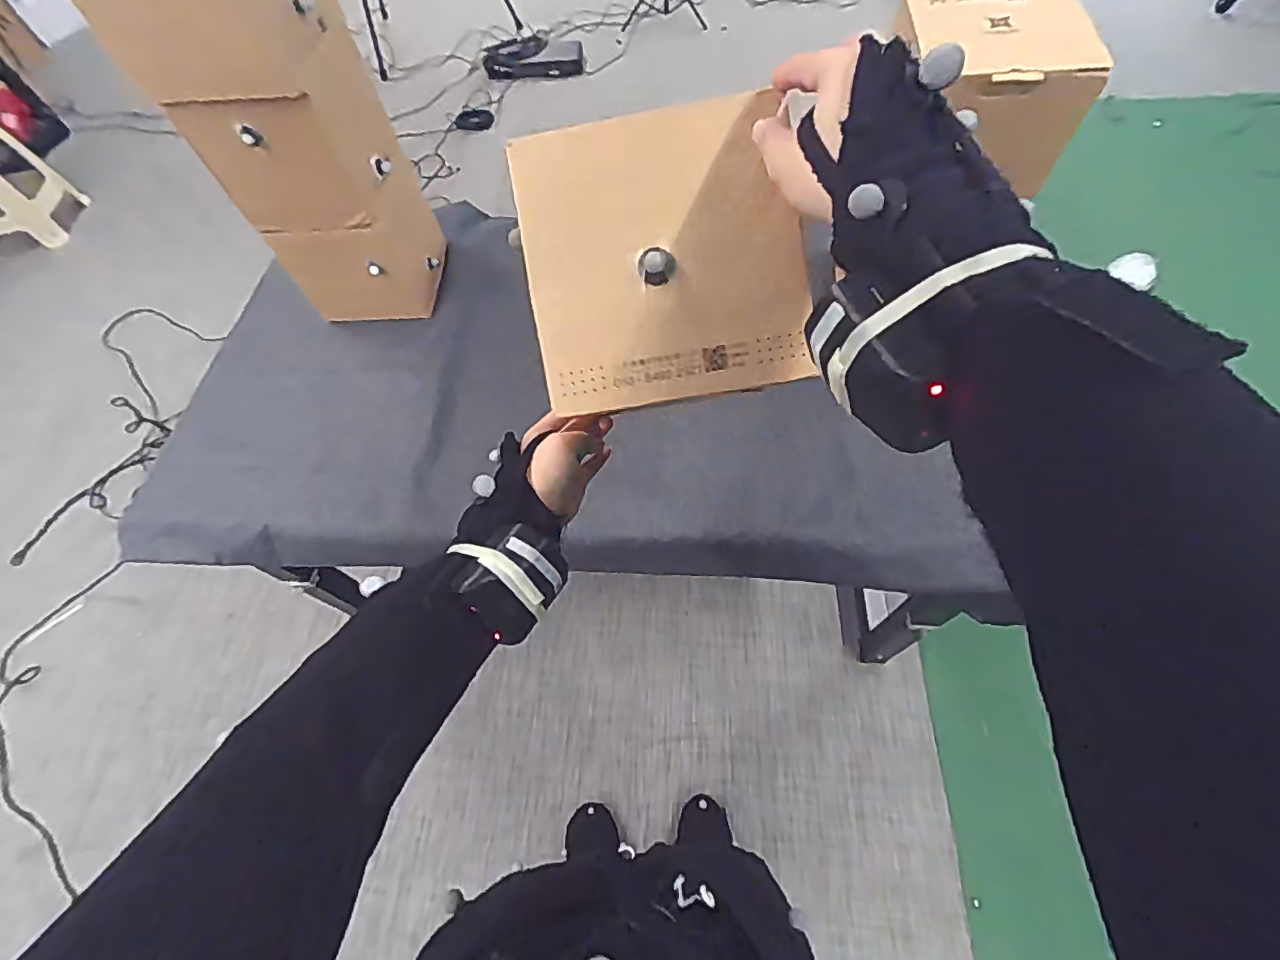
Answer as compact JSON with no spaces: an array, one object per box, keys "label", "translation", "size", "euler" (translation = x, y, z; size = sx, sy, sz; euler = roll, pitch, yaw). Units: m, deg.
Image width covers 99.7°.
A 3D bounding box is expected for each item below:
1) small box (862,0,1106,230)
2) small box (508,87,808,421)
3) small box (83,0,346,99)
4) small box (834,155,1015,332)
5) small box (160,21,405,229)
[{"label":"small box","translation":[0.361,-0.406,0.608],"size":[0.168,0.176,0.179],"euler":[4,63,7]},{"label":"small box","translation":[0.019,-0.139,0.403],"size":[0.168,0.179,0.176],"euler":[-7,95,5]},{"label":"small box","translation":[-0.442,-0.515,0.545],"size":[0.179,0.176,0.168],"euler":[0,63,3]},{"label":"small box","translation":[0.376,-0.333,0.754],"size":[0.168,0.176,0.179],"euler":[4,62,7]},{"label":"small box","translation":[-0.435,-0.446,0.694],"size":[0.179,0.176,0.168],"euler":[-1,63,2]}]
